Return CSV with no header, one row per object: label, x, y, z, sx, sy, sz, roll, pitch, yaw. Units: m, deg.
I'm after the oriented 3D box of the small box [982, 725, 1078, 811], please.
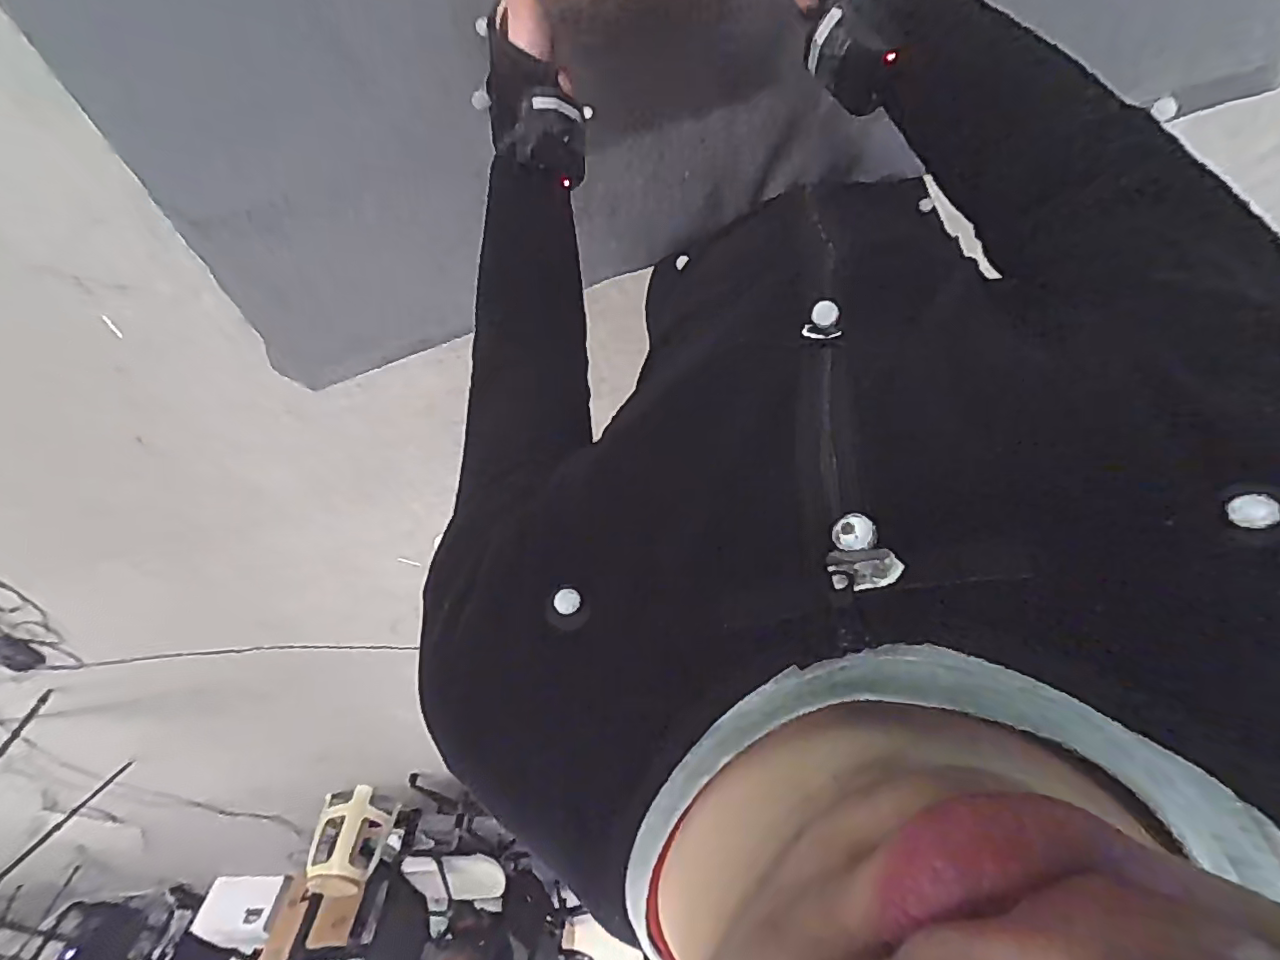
small box,1.159,0.864,1.625,0.179,0.176,0.168,-15,127,11
